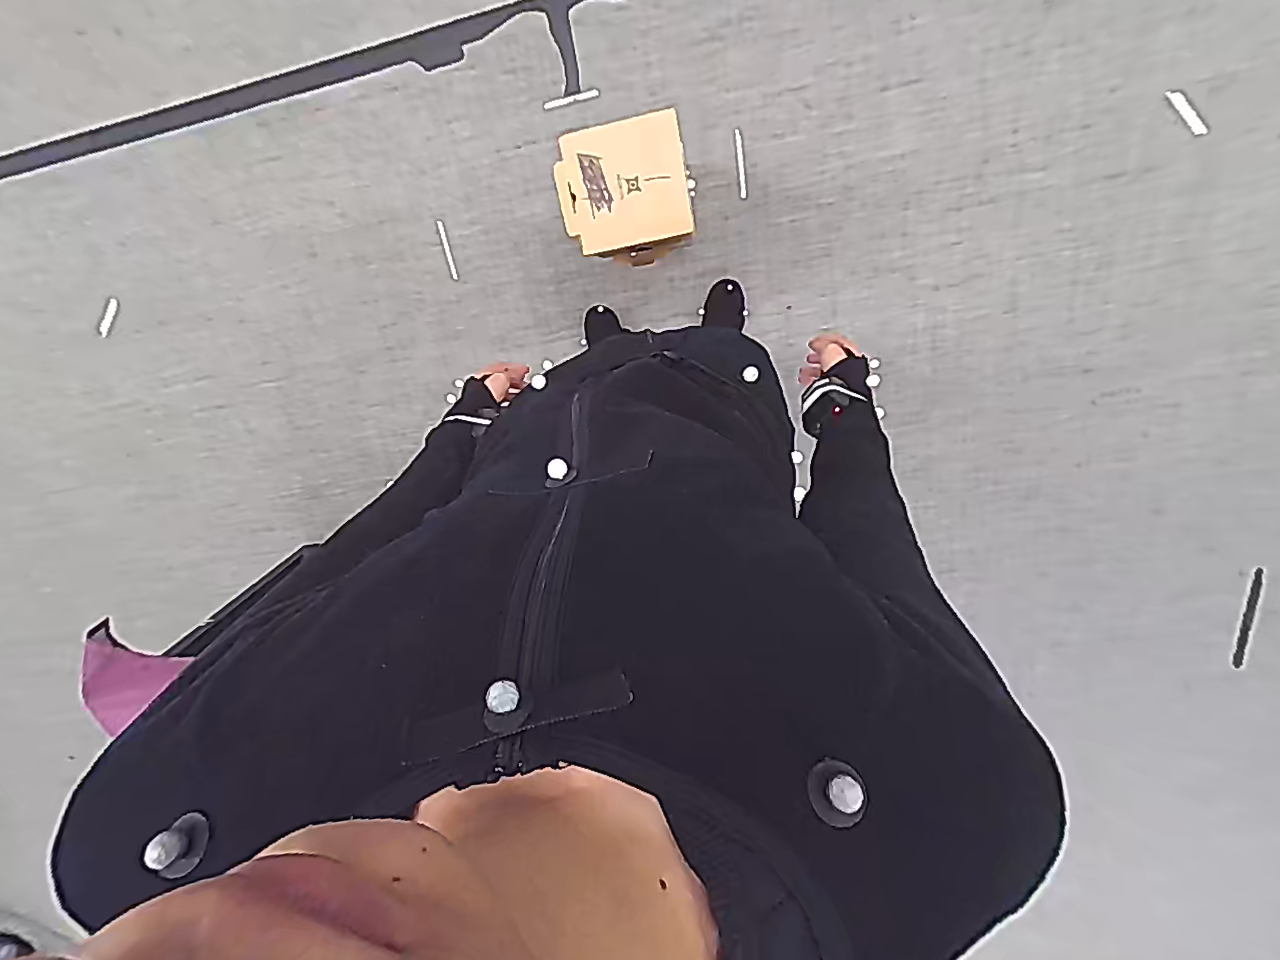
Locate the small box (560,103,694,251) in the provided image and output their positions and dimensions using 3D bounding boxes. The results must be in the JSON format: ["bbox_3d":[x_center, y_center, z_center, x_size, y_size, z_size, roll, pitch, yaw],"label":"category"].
[{"bbox_3d":[-0.012,-0.470,0.866,0.179,0.176,0.168,-9,112,7],"label":"small box"}]
